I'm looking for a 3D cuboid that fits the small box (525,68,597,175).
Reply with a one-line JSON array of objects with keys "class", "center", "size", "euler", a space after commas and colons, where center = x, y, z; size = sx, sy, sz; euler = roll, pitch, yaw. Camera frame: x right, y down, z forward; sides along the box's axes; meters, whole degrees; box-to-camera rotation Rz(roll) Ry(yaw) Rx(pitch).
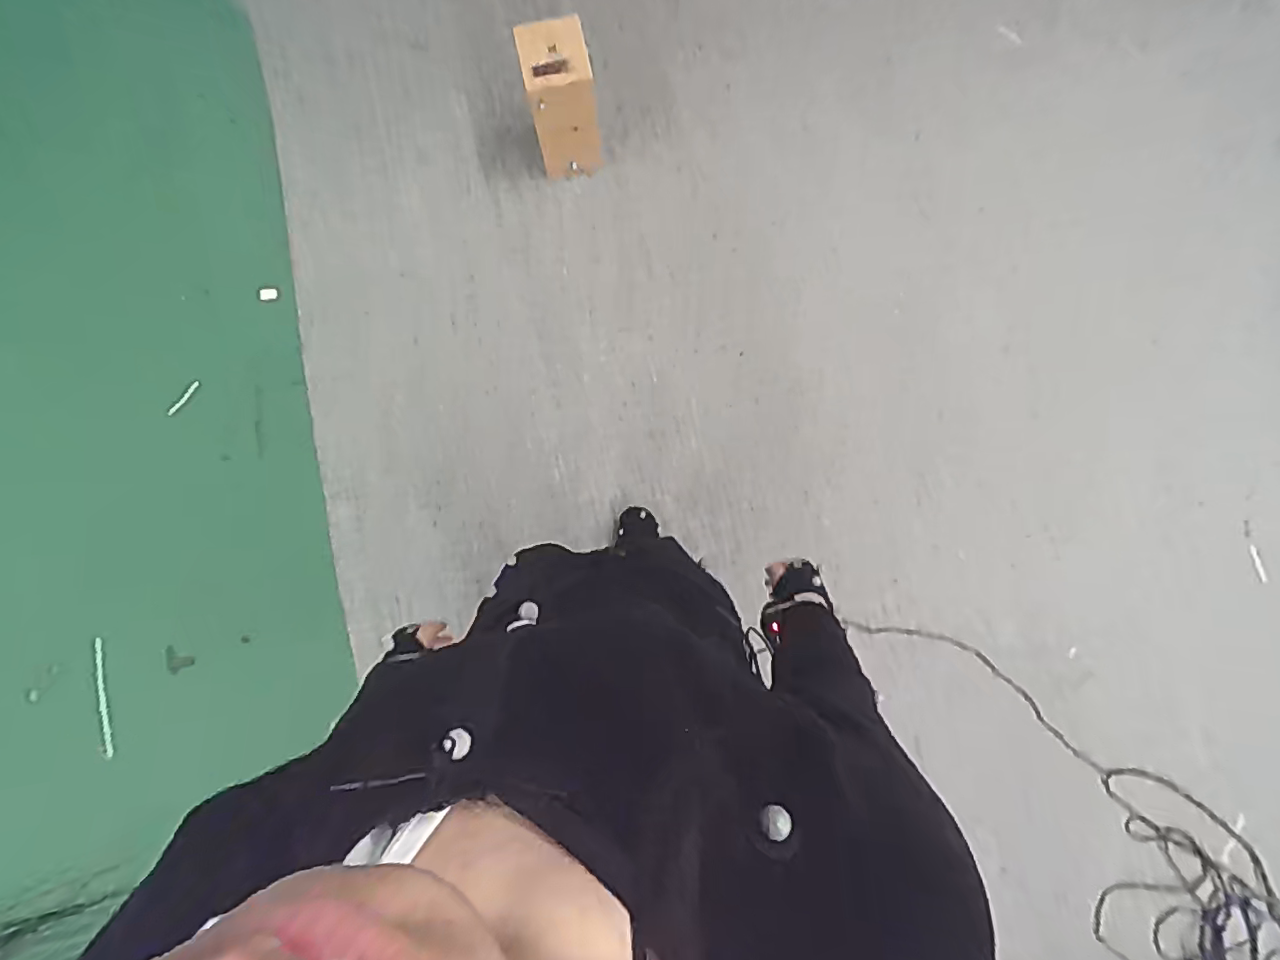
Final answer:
[{"class": "small box", "center": [-0.219, -1.007, 1.529], "size": [0.168, 0.176, 0.179], "euler": [-11, 86, -2]}]
